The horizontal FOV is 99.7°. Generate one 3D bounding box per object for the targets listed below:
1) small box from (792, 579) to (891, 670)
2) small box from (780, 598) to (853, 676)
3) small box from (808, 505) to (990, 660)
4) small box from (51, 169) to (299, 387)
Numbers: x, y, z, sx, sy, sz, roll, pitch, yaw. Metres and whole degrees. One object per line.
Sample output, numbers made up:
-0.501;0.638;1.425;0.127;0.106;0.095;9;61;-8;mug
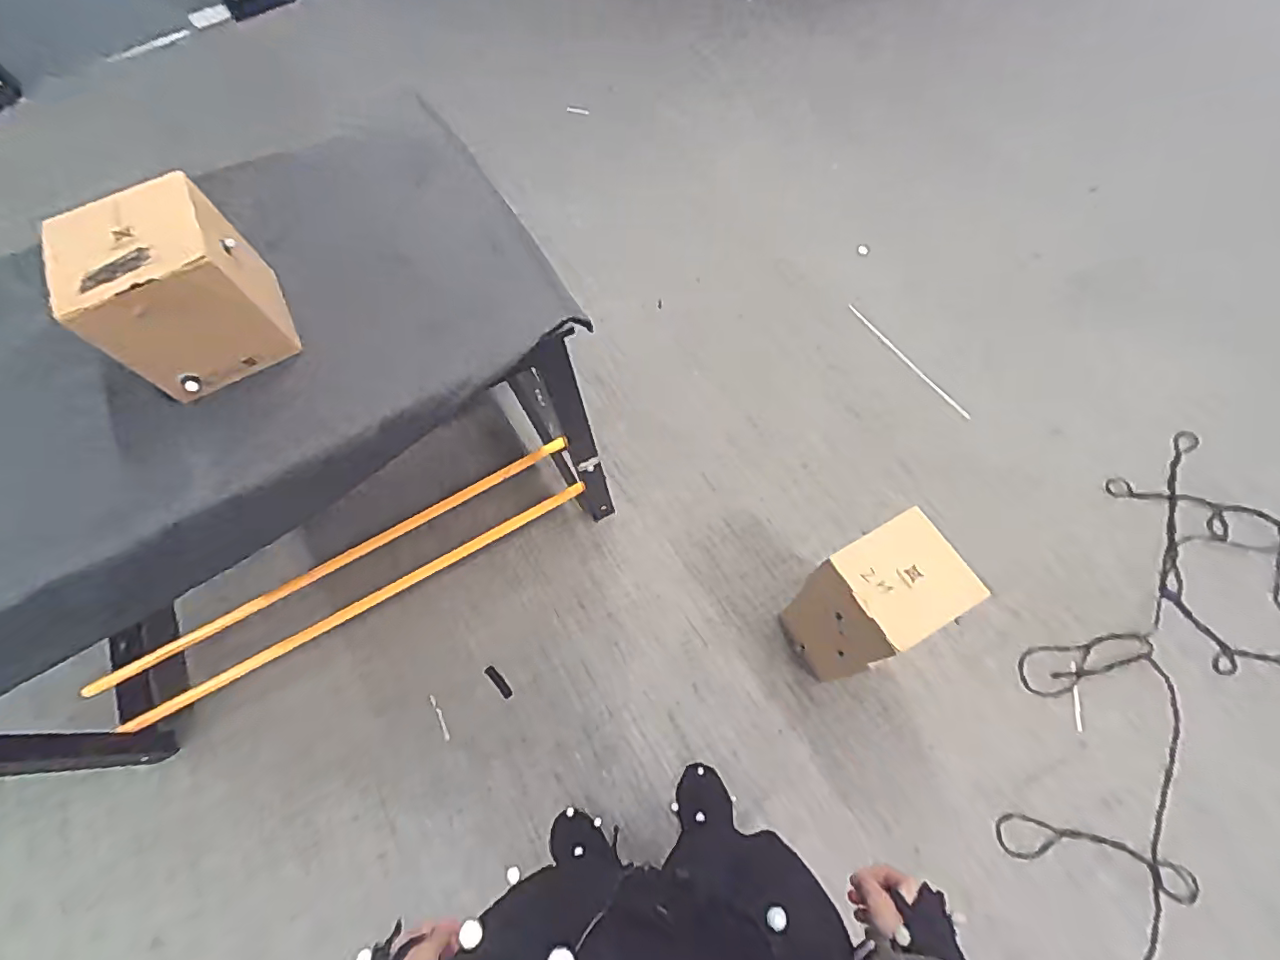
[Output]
0.416;0.244;1.026;0.168;0.176;0.179;-29;67;-10;small box
0.430;0.309;1.173;0.168;0.176;0.179;-26;69;-9;small box
0.403;0.172;0.878;0.179;0.176;0.168;-28;67;-9;small box
-0.576;-0.243;0.689;0.168;0.176;0.179;-28;66;-9;small box
